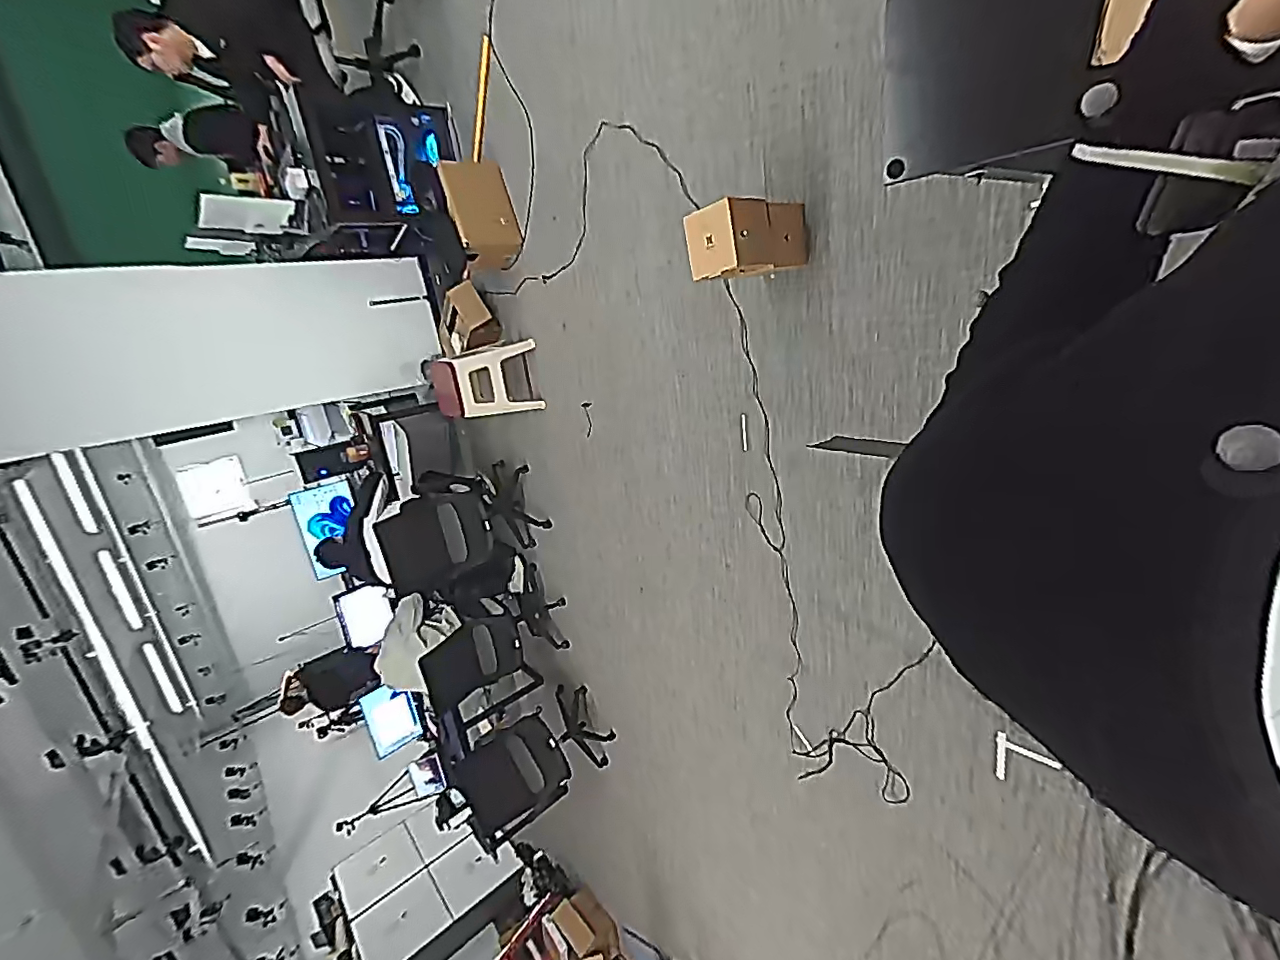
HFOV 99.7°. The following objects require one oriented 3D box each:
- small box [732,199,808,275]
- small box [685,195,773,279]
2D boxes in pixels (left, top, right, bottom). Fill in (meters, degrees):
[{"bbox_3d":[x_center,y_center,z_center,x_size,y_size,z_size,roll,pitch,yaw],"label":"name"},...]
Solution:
[{"bbox_3d":[0.376,-0.715,1.599,0.168,0.176,0.179,9,115,50],"label":"small box"},{"bbox_3d":[0.252,-0.673,1.502,0.168,0.176,0.179,4,109,50],"label":"small box"}]
